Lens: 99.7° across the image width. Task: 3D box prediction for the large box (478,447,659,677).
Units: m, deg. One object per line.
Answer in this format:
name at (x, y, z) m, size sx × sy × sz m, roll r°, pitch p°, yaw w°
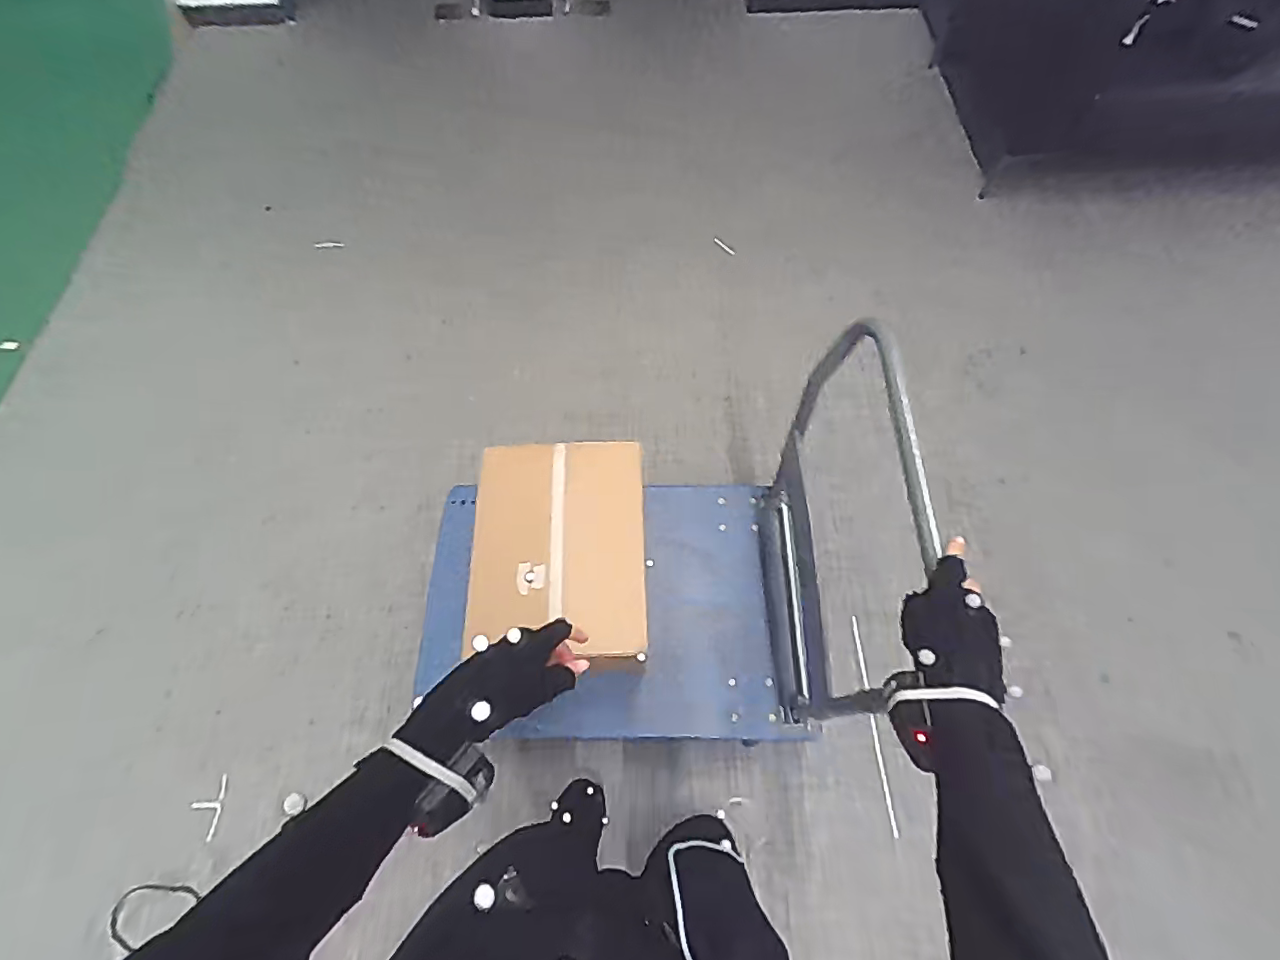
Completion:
large box at (-0.134, 0.181, 1.126) m, size 0.320 × 0.320 × 0.408 m, roll -3°, pitch 66°, yaw 0°
